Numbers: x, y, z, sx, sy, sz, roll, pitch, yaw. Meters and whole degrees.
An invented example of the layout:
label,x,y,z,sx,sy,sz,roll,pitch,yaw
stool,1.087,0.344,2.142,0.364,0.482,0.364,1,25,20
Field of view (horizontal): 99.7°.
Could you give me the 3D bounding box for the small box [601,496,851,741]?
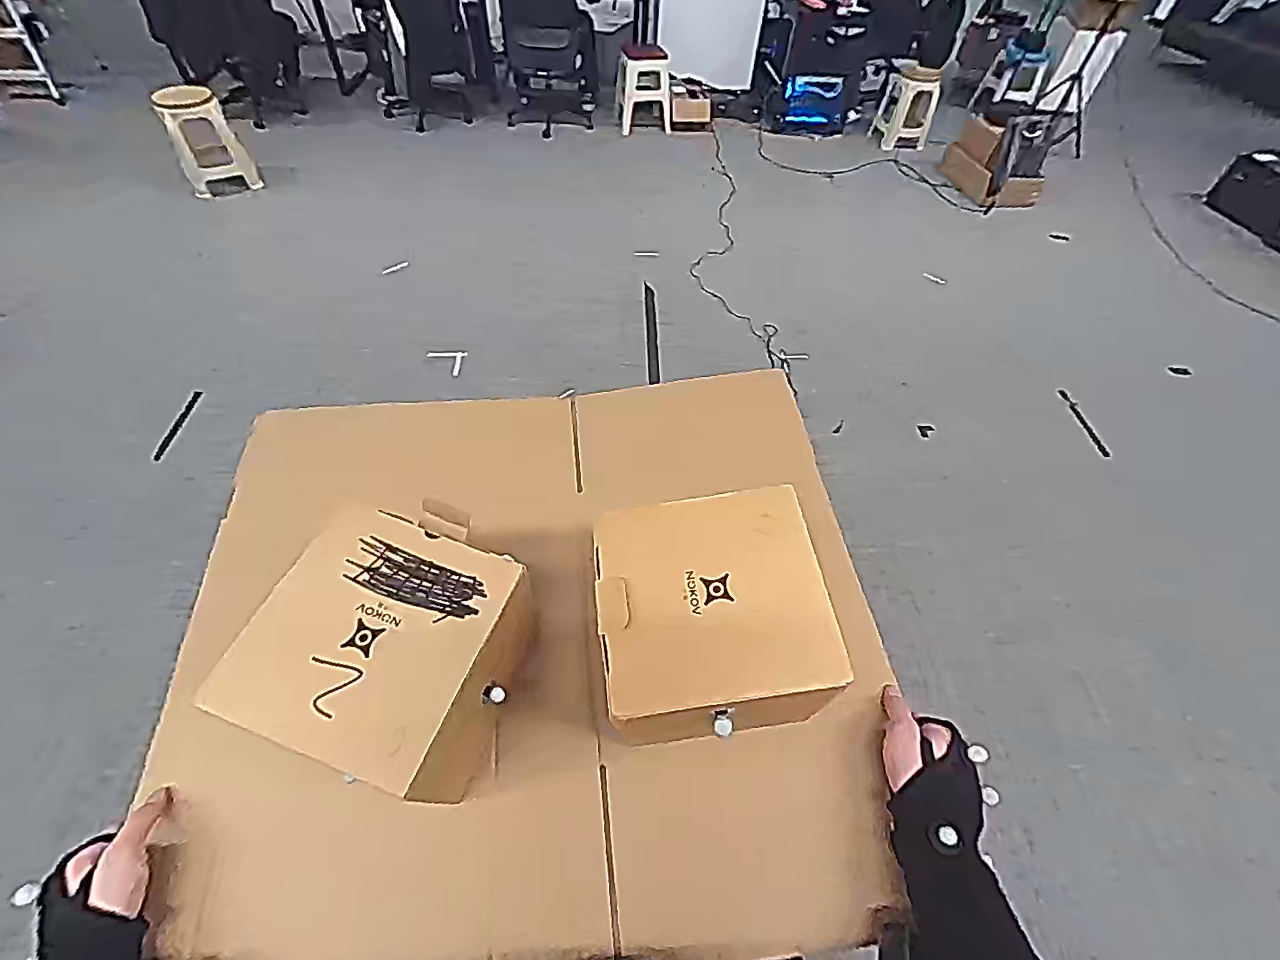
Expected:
label,x,y,z,sx,sy,sz,roll,pitch,yaw
small box,0.066,0.135,0.502,0.179,0.176,0.168,-9,58,0
